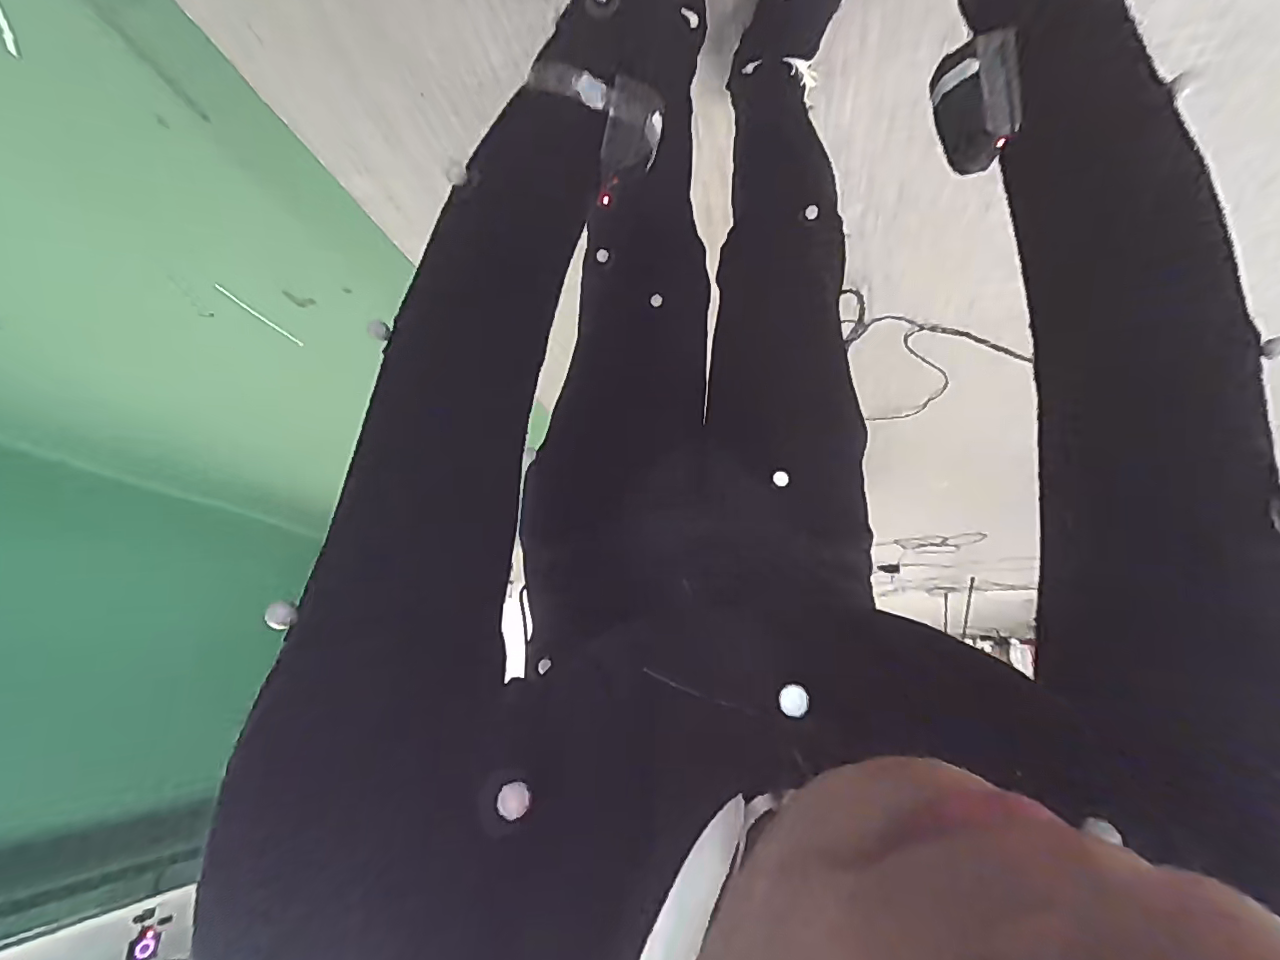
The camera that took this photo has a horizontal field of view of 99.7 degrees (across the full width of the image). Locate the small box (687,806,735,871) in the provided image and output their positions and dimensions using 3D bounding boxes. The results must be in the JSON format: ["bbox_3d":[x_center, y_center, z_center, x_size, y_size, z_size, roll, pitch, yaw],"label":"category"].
[{"bbox_3d":[0.280,1.374,2.089,0.168,0.176,0.179,-1,161,14],"label":"small box"}]

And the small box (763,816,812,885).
[{"bbox_3d":[0.547,1.371,2.017,0.168,0.176,0.179,-1,161,13],"label":"small box"}]
